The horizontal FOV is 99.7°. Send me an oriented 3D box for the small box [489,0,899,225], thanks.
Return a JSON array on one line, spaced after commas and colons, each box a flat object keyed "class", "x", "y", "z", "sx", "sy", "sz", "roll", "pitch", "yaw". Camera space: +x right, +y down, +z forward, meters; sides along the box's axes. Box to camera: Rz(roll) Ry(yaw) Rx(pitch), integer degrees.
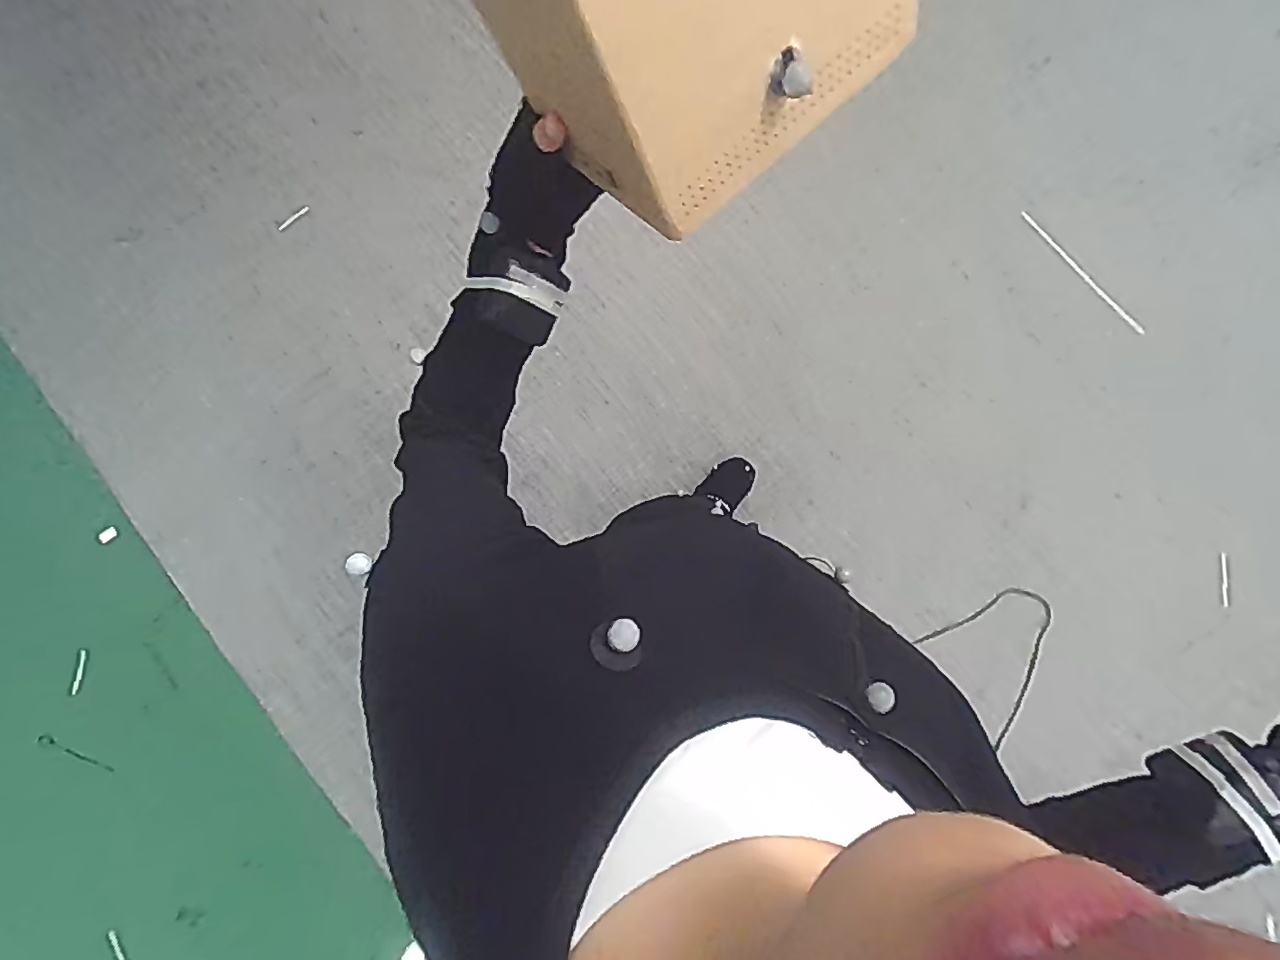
[{"class": "small box", "x": 0.017, "y": -0.277, "z": 0.275, "sx": 0.179, "sy": 0.176, "sz": 0.168, "roll": -39, "pitch": 58, "yaw": 3}]
